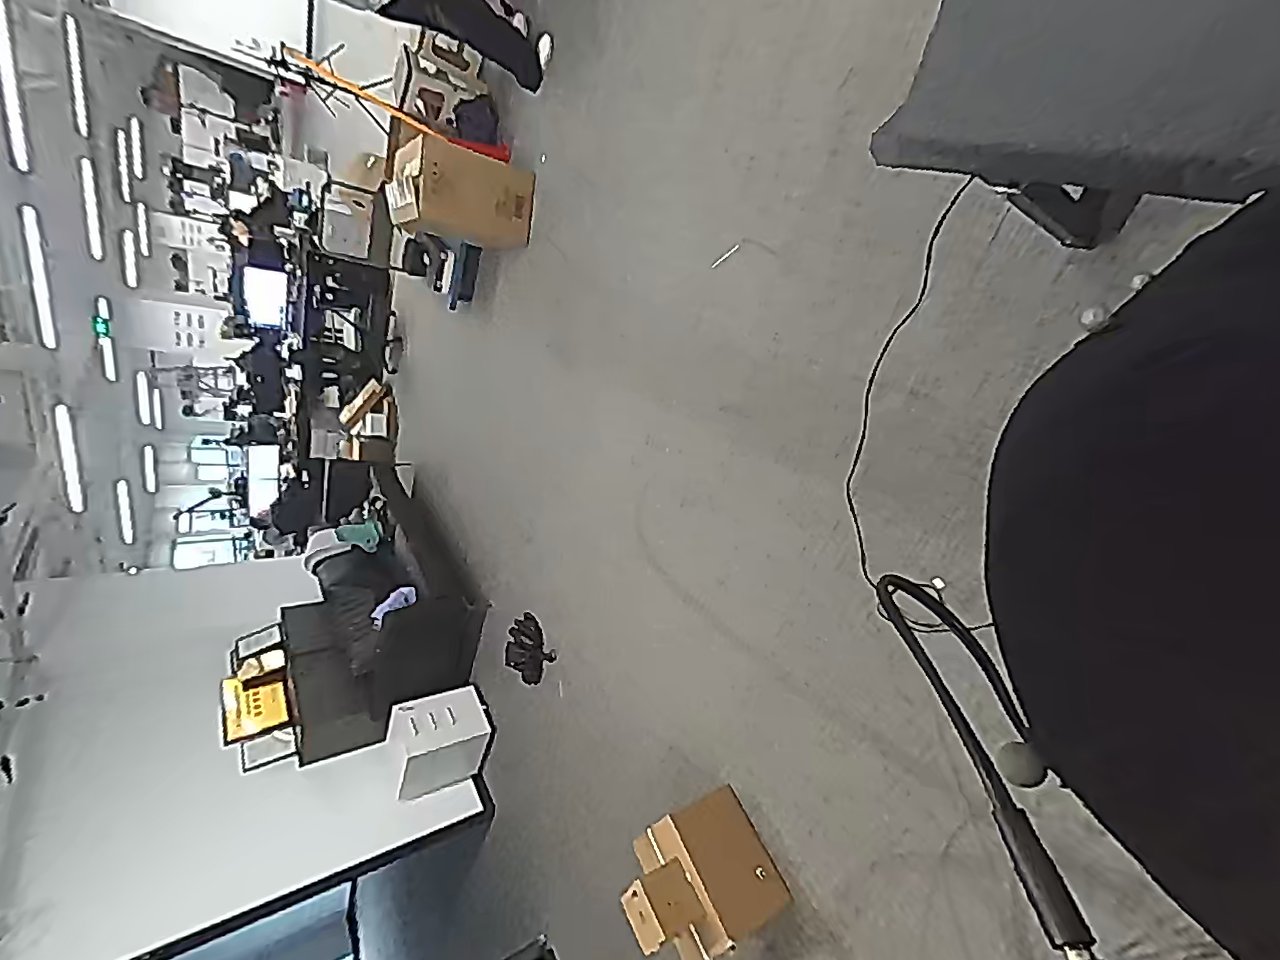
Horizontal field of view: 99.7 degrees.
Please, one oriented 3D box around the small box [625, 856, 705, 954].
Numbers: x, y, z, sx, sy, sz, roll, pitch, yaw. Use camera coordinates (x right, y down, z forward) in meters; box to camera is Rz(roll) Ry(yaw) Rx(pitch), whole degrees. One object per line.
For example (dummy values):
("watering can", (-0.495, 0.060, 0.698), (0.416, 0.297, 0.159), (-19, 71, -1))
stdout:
("small box", (0.086, 1.400, 1.791), (0.179, 0.176, 0.168), (50, 128, 37))
